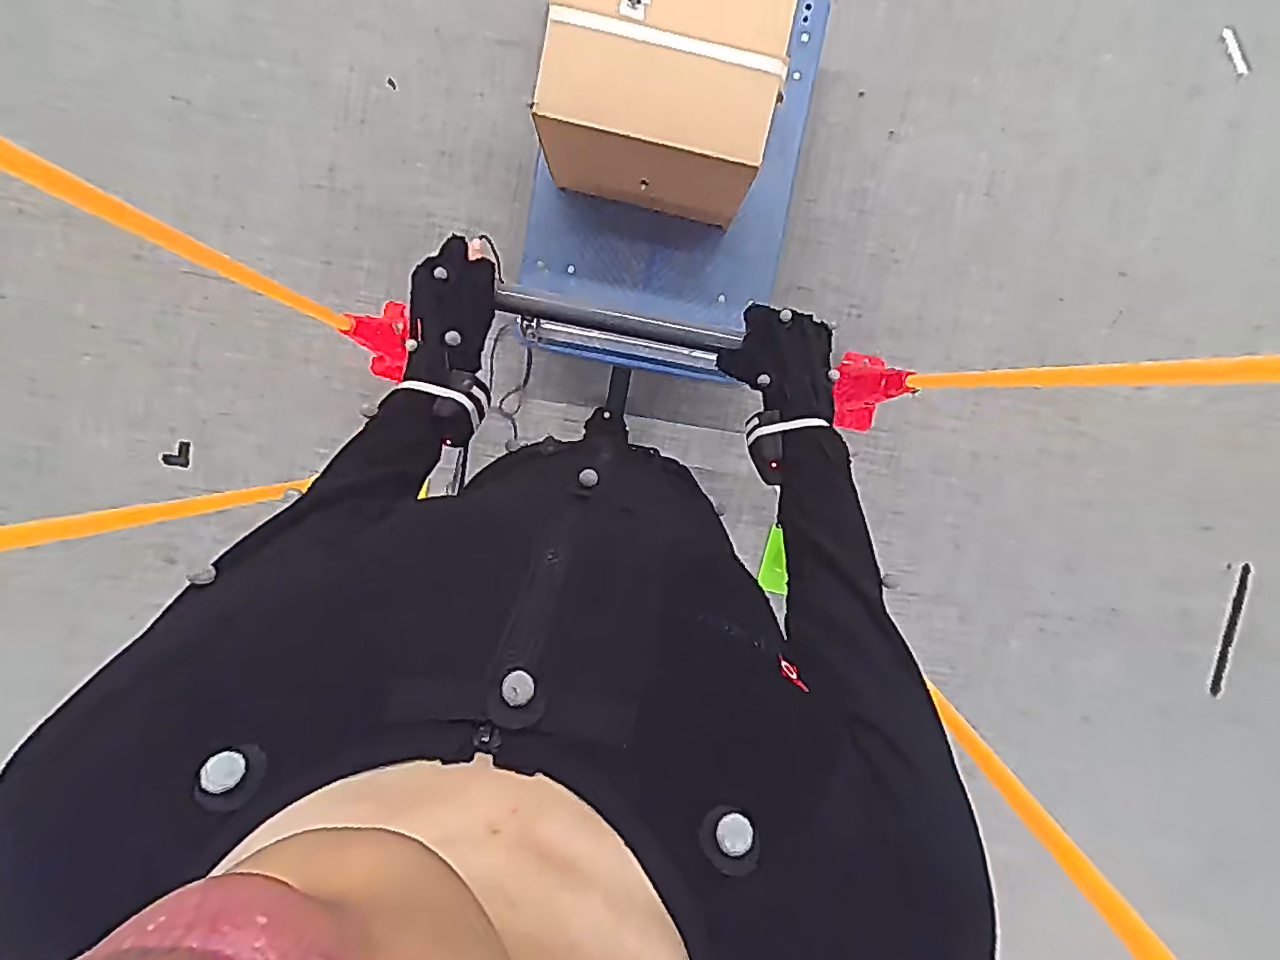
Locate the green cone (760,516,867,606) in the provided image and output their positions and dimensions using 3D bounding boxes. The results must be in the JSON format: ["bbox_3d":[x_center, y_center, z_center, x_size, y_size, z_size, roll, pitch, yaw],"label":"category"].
[{"bbox_3d":[0.450,0.230,1.318,0.202,0.368,0.200,13,96,-3],"label":"green cone"}]

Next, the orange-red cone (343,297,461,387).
[{"bbox_3d":[-0.578,-0.343,1.243,0.198,0.360,0.199,17,94,-4],"label":"orange-red cone"}]

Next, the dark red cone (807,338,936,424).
[{"bbox_3d":[0.552,-0.240,1.249,0.201,0.394,0.202,9,97,-4],"label":"dark red cone"}]

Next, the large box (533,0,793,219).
[{"bbox_3d":[0.041,-0.753,1.058,0.408,0.320,0.320,12,97,-2],"label":"large box"}]
